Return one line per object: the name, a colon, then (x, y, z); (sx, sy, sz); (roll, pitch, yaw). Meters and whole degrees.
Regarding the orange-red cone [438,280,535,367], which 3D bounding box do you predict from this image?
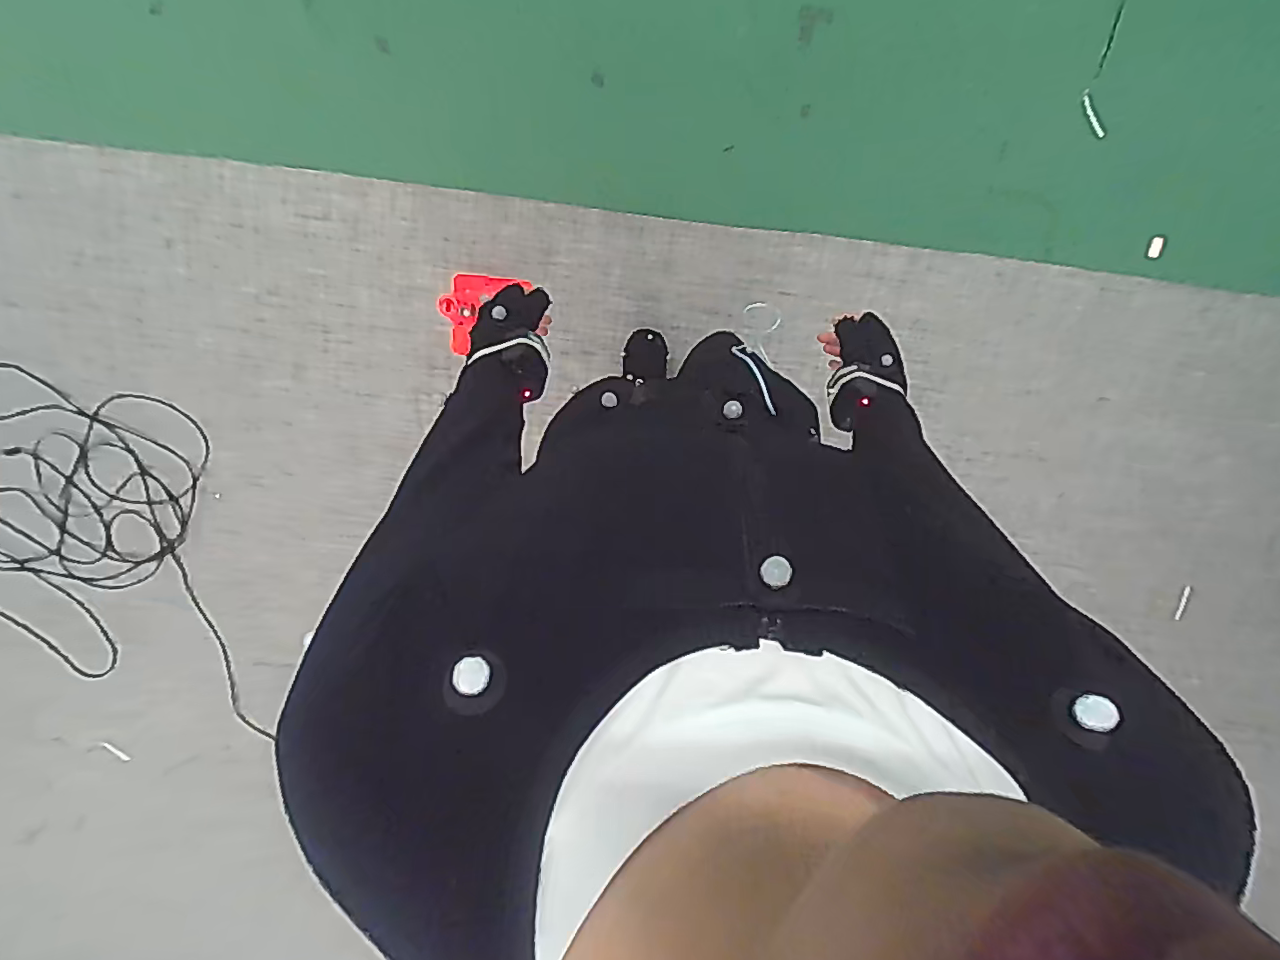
orange-red cone: (-0.369, -0.356, 1.205); (0.198, 0.360, 0.199); (6, 103, -2)
